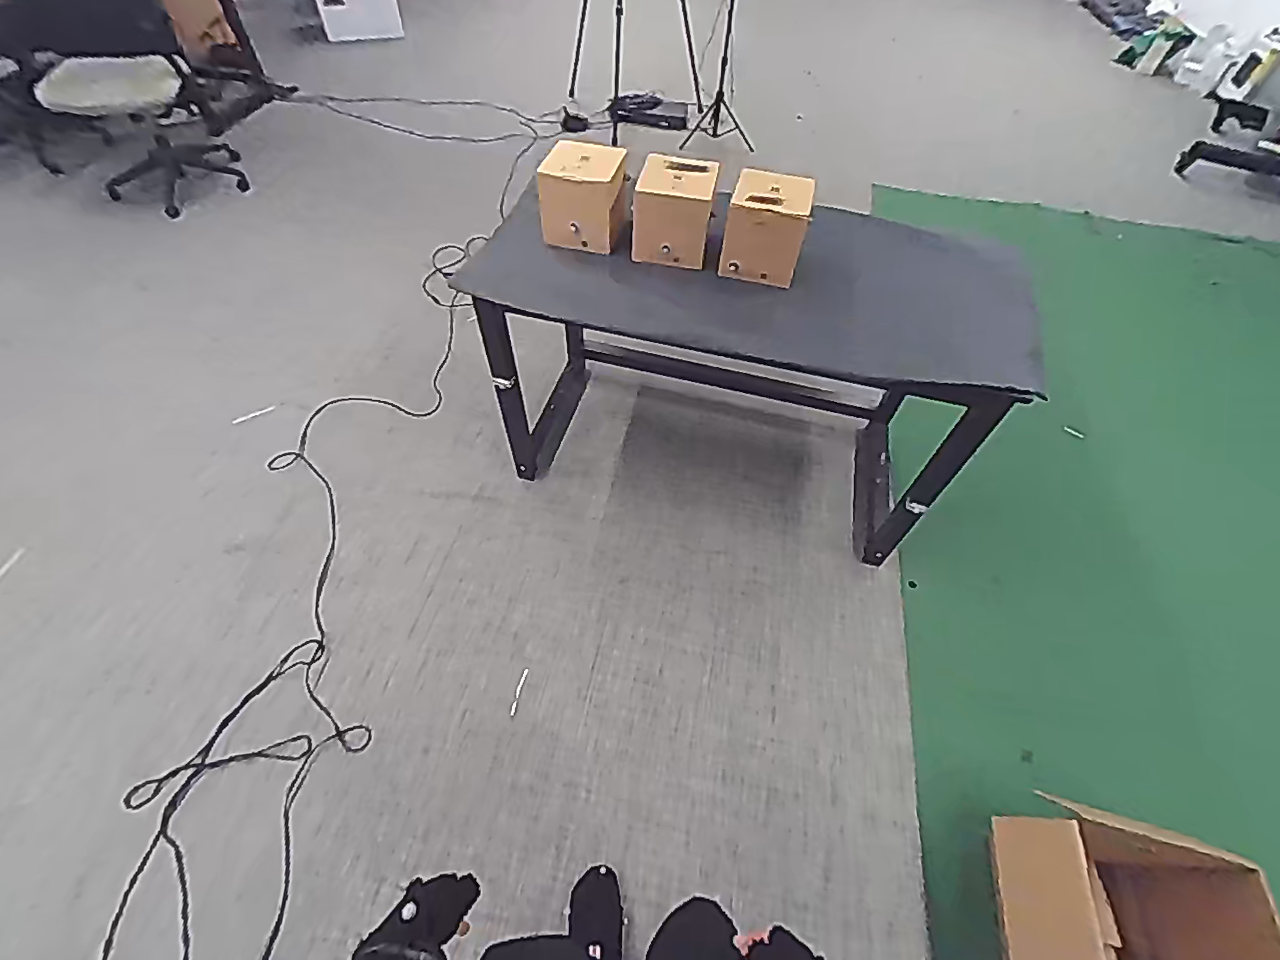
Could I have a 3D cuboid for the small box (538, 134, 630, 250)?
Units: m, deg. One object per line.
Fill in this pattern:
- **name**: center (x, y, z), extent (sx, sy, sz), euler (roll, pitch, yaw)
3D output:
- **small box**: center (-0.126, -0.670, 1.262), extent (0.168, 0.176, 0.179), euler (12, 55, 6)
